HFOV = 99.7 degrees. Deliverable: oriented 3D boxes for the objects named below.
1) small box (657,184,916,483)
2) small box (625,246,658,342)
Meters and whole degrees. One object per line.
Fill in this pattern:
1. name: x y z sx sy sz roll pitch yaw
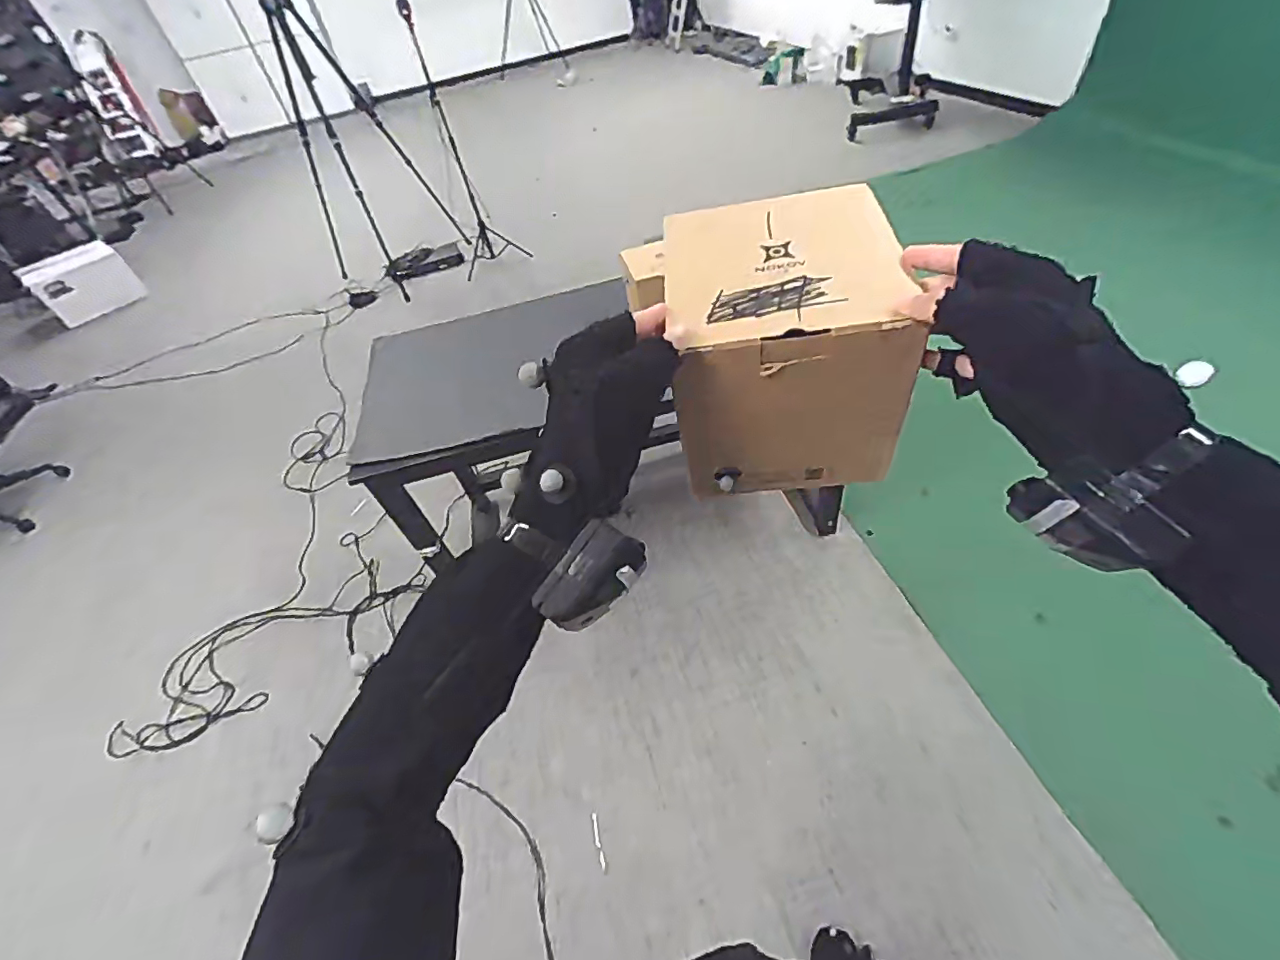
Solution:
1. small box: 0.109 -0.110 0.456 0.168 0.176 0.179 -6 52 9
2. small box: 0.069 -0.471 1.349 0.168 0.176 0.179 -16 46 -2
